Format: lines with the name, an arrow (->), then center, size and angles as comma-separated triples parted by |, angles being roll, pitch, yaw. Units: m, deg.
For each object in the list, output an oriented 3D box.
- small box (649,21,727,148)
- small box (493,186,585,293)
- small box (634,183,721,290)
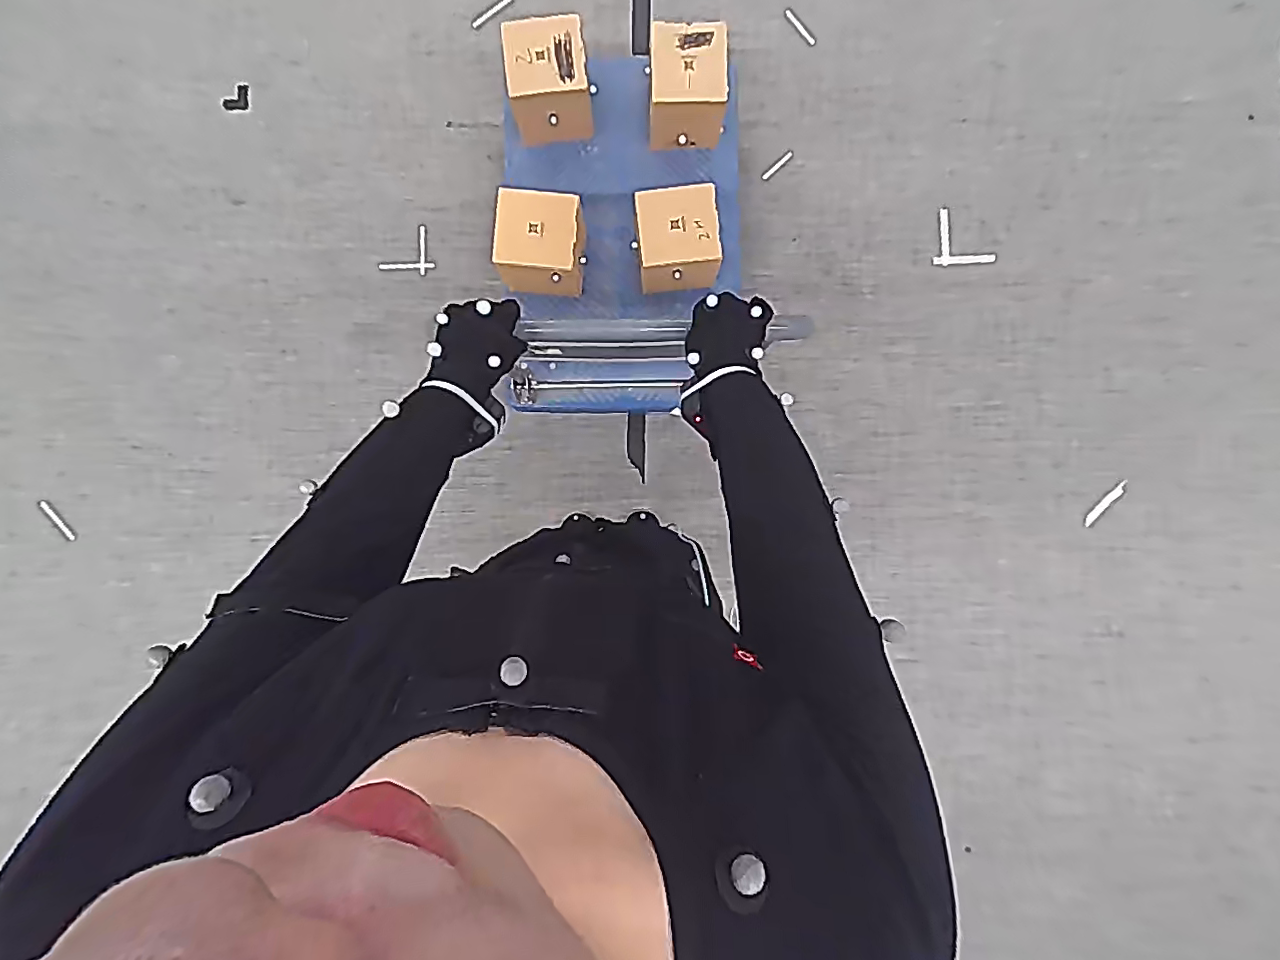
small box -> 0.106, -0.907, 1.250 | 0.168, 0.176, 0.179 | 0, 90, 0
small box -> -0.225, -0.545, 1.246 | 0.179, 0.176, 0.168 | 5, 89, -2
small box -> 0.082, -0.552, 1.246 | 0.179, 0.176, 0.168 | -6, 89, 0
